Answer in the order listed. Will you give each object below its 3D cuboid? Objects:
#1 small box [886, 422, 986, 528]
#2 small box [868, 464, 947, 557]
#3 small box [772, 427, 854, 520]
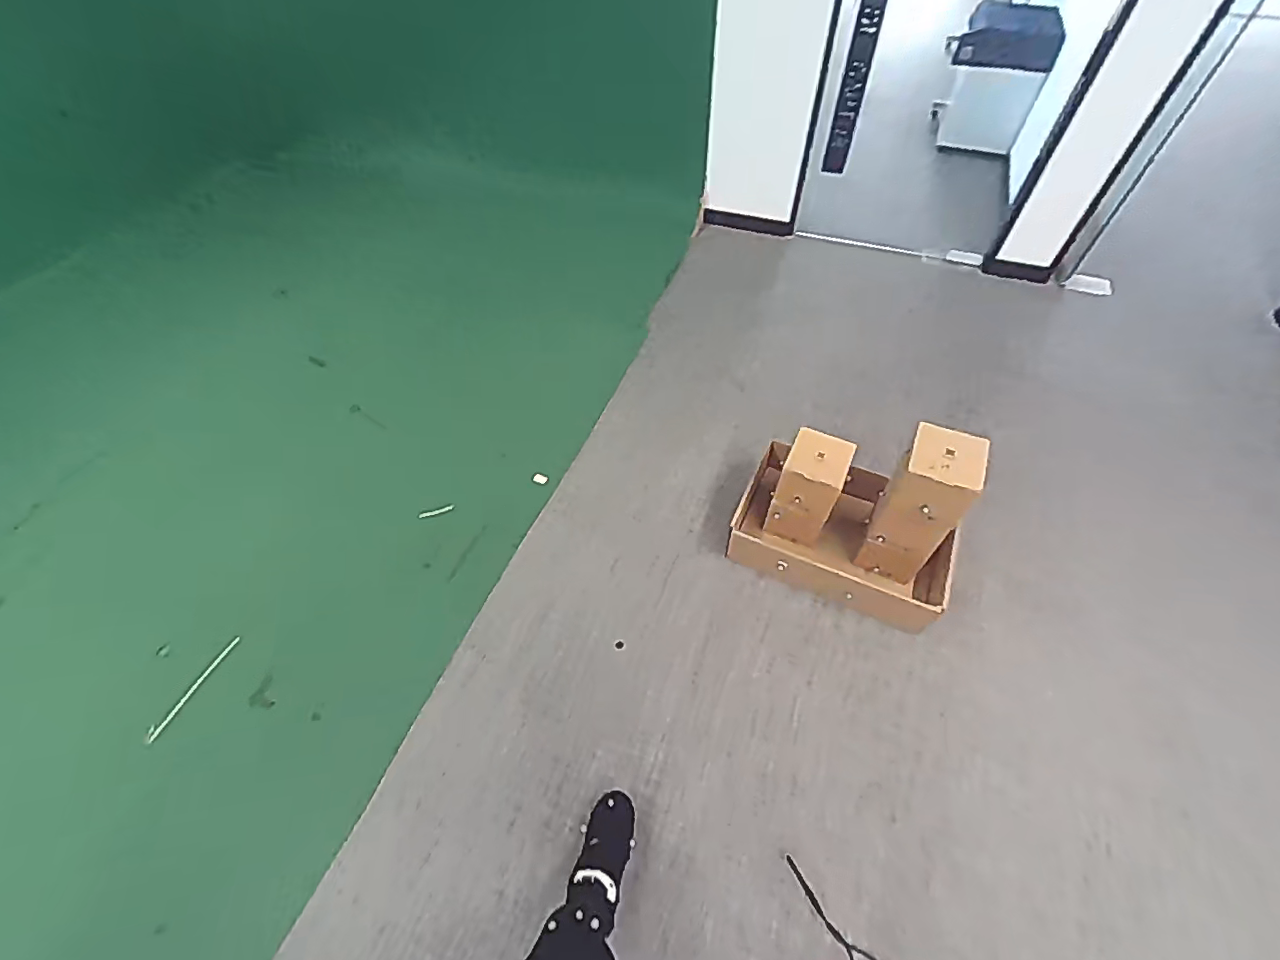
[{"bbox_3d":[0.742,-0.012,1.364,0.168,0.176,0.179,20,57,18],"label":"small box"},{"bbox_3d":[0.750,0.085,1.497,0.168,0.176,0.179,22,56,18],"label":"small box"},{"bbox_3d":[0.500,-0.016,1.579,0.168,0.176,0.179,21,57,15],"label":"small box"}]
